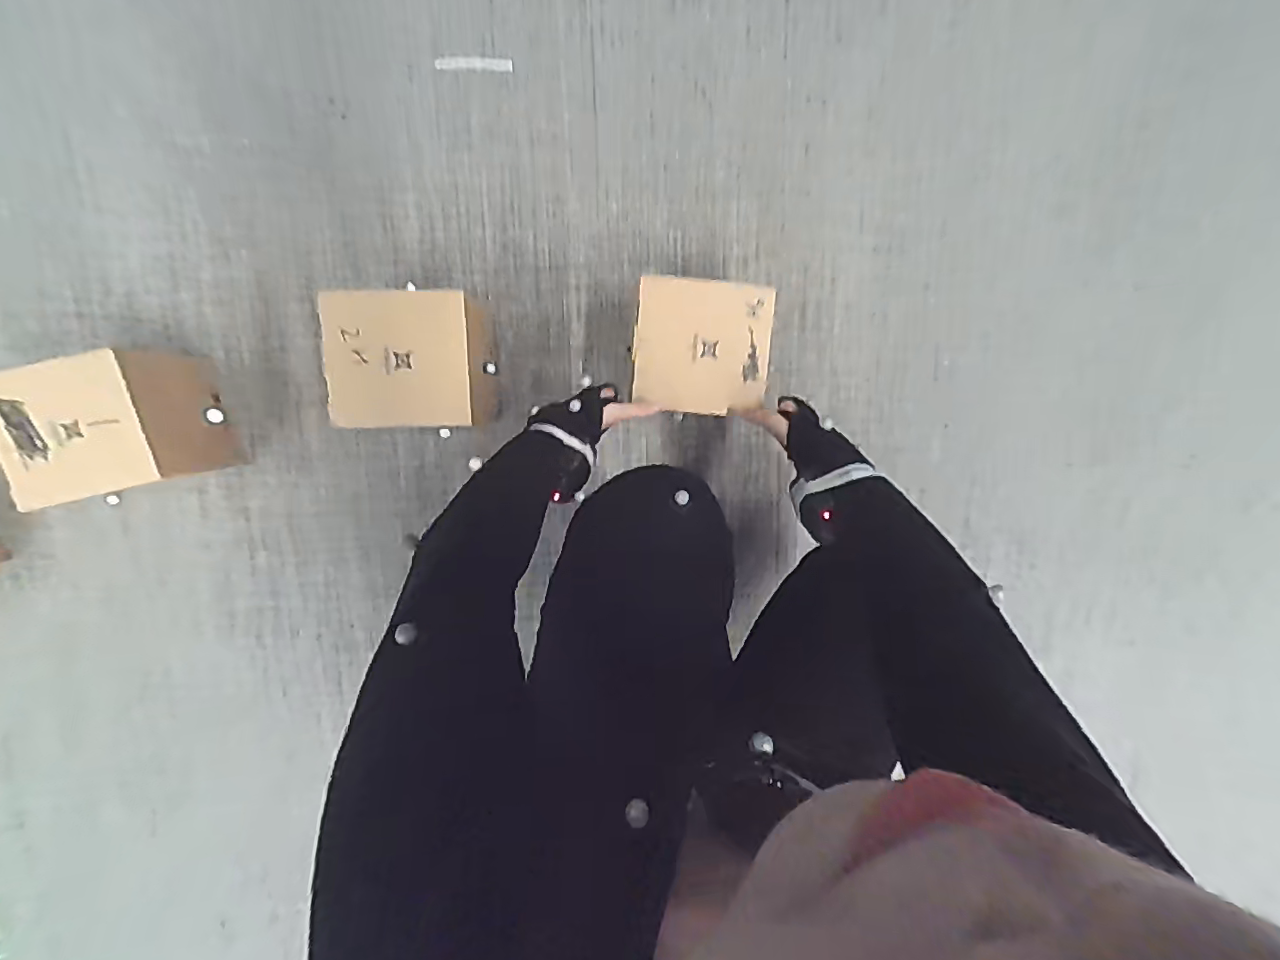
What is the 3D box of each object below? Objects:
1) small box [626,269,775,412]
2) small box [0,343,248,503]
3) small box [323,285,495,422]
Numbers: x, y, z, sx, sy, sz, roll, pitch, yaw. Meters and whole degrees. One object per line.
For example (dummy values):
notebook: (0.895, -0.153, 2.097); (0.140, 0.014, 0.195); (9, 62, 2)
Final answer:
small box: (0.073, -0.185, 0.763); (0.179, 0.176, 0.168); (4, 98, -4)
small box: (-0.688, -0.076, 0.730); (0.179, 0.176, 0.168); (-14, 99, -2)
small box: (-0.300, -0.165, 0.742); (0.179, 0.176, 0.168); (-1, 97, -4)
